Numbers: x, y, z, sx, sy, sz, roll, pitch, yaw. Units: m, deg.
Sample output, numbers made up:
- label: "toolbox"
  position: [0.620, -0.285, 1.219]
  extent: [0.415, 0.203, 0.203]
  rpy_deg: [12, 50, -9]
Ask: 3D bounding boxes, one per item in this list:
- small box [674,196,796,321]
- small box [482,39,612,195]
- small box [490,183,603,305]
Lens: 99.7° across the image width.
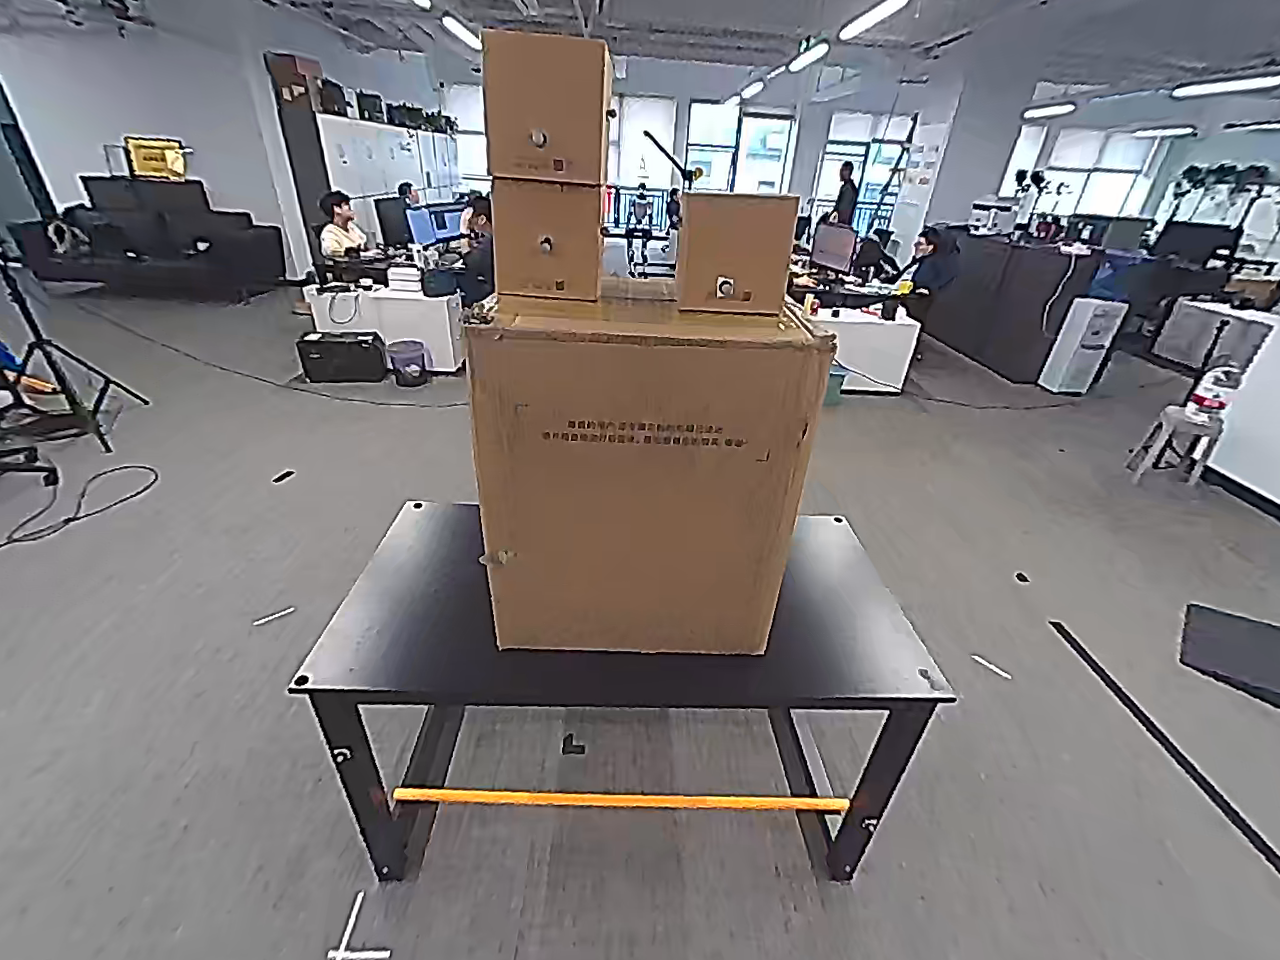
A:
- label: "small box"
  position: [0.144, -0.370, 0.894]
  extent: [0.168, 0.176, 0.179]
  rpy_deg: [1, 30, 0]
- label: "small box"
  position: [-0.134, -0.537, 0.820]
  extent: [0.168, 0.176, 0.179]
  rpy_deg: [3, 30, -2]
- label: "small box"
  position: [-0.149, -0.402, 0.916]
  extent: [0.168, 0.176, 0.179]
  rpy_deg: [3, 30, -4]
